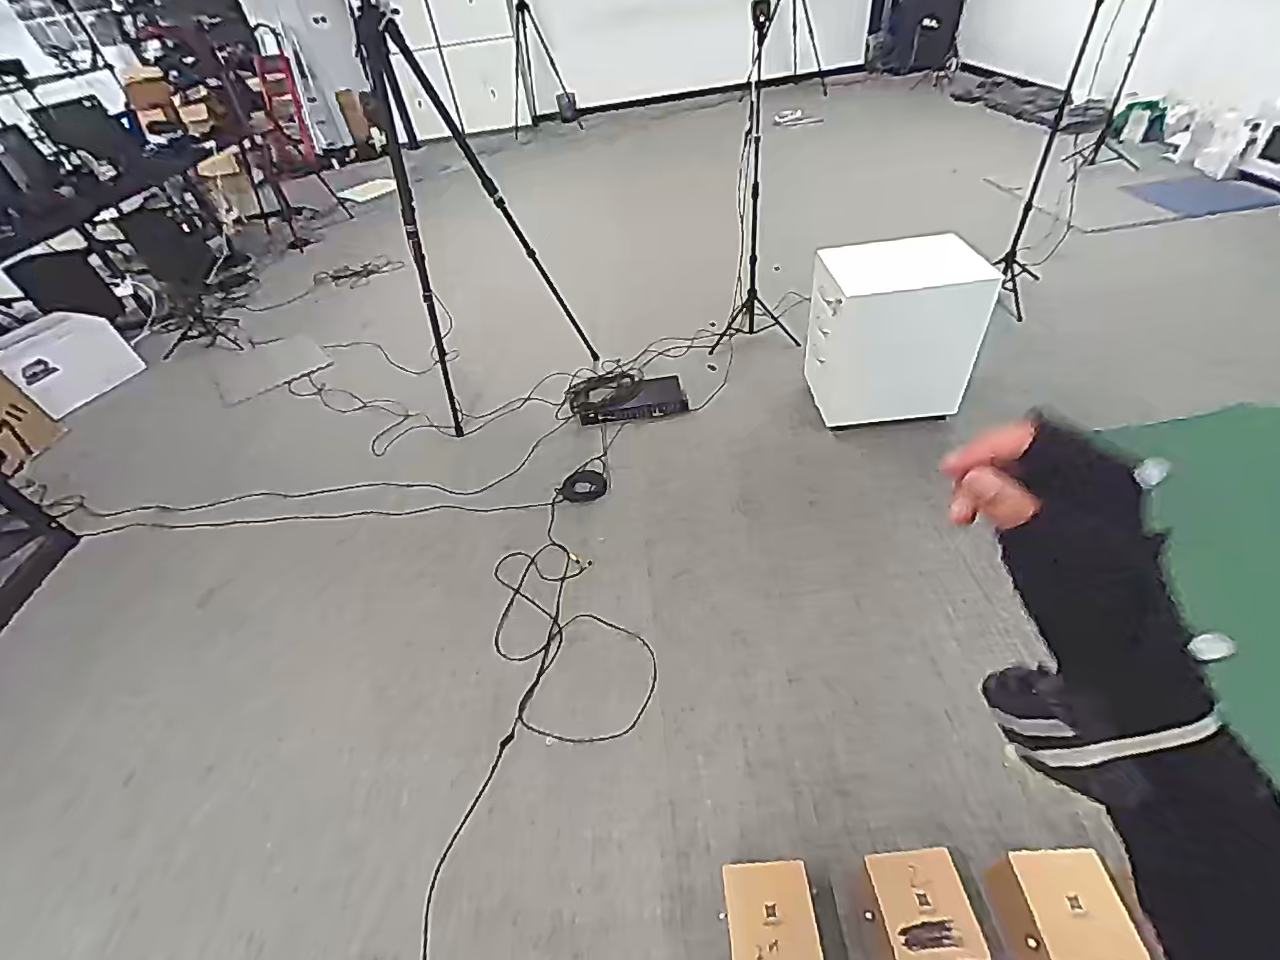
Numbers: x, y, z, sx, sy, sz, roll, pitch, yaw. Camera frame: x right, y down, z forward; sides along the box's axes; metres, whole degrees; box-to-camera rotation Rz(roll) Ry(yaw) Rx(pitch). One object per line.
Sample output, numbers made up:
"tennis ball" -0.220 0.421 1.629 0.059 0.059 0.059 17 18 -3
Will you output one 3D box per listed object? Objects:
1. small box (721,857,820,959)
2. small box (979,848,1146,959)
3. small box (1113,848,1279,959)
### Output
"small box" 0.252 0.880 1.081 0.168 0.176 0.179 -6 44 4
"small box" 0.797 0.836 1.045 0.168 0.176 0.179 -5 45 3
"small box" 1.065 0.820 1.021 0.168 0.176 0.179 -5 44 3
